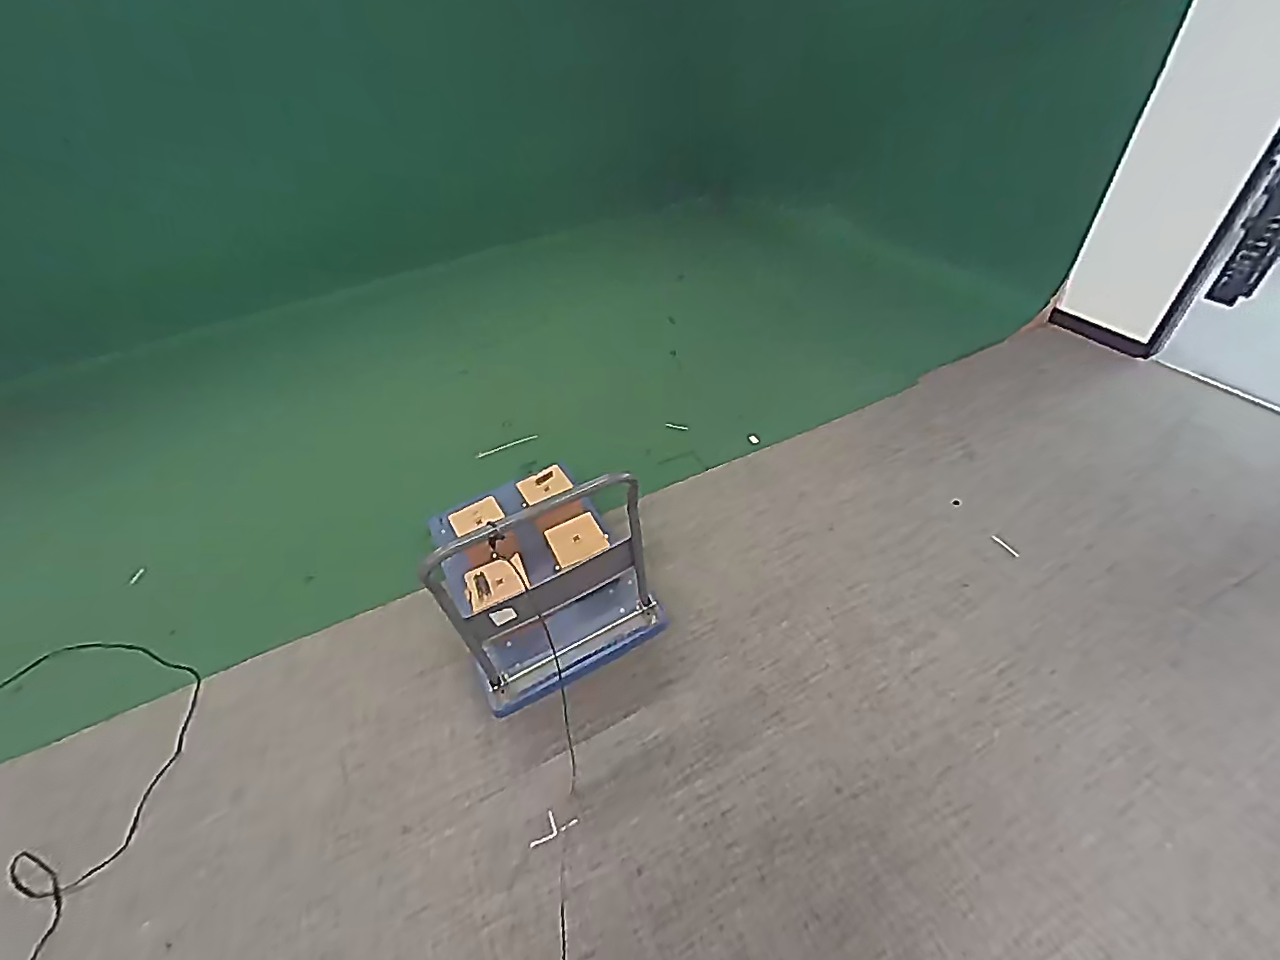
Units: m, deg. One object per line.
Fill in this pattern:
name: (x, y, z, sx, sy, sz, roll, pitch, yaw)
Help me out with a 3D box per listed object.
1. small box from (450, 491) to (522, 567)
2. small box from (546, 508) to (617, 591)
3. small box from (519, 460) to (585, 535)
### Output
small box: (-0.526, 0.175, 1.863, 0.168, 0.176, 0.179, -26, 48, -18)
small box: (-0.189, 0.228, 1.764, 0.168, 0.176, 0.179, -23, 48, -15)
small box: (-0.313, 0.066, 1.941, 0.168, 0.176, 0.179, -27, 49, -17)
